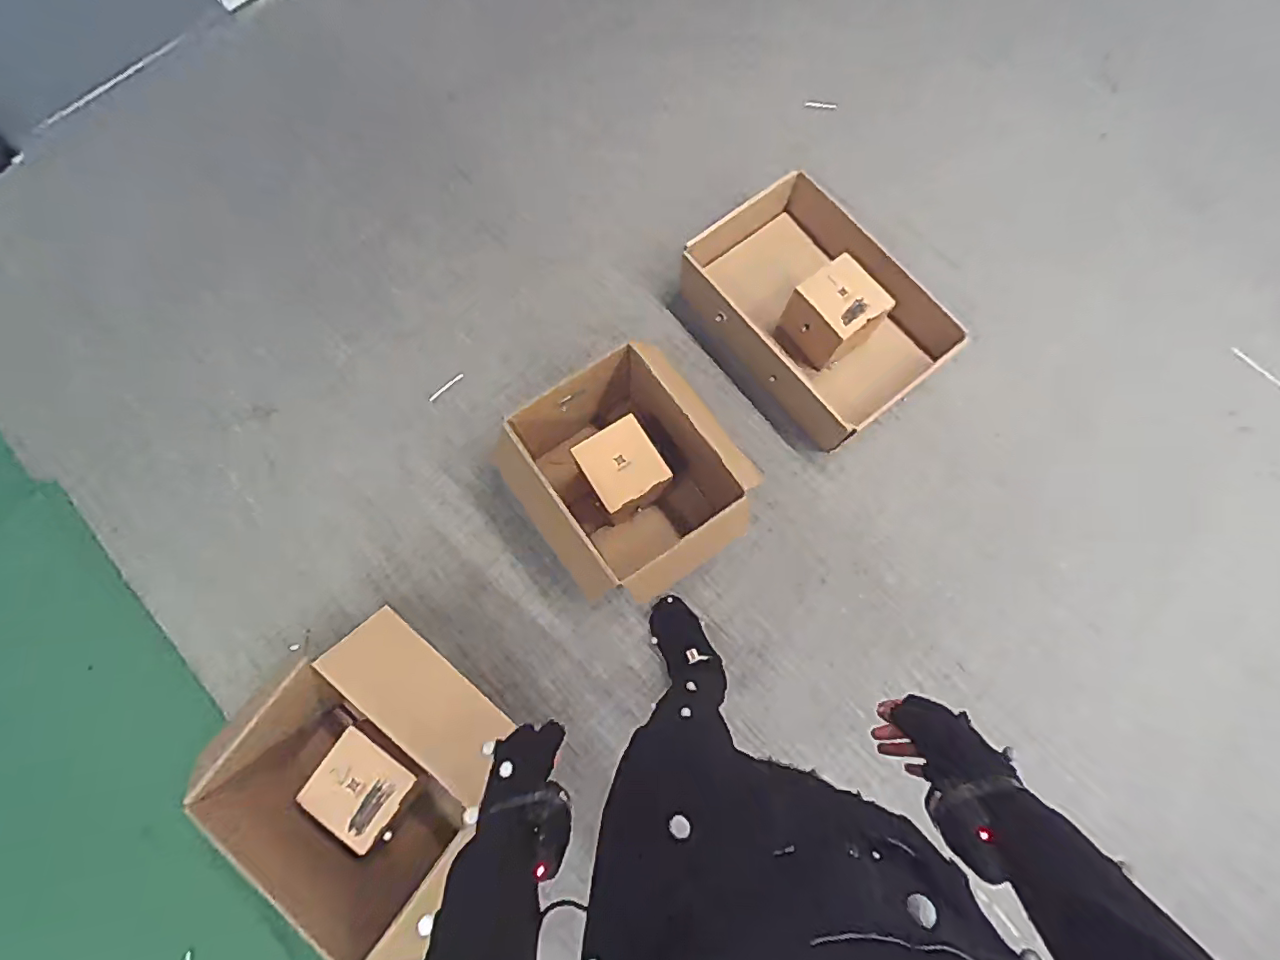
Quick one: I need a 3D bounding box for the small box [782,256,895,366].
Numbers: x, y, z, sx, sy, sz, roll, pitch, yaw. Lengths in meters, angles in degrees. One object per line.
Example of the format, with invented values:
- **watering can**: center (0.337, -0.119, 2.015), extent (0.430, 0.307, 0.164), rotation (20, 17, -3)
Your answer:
- **small box**: center (0.484, -0.408, 1.345), extent (0.168, 0.176, 0.179), rotation (-35, 77, -9)
